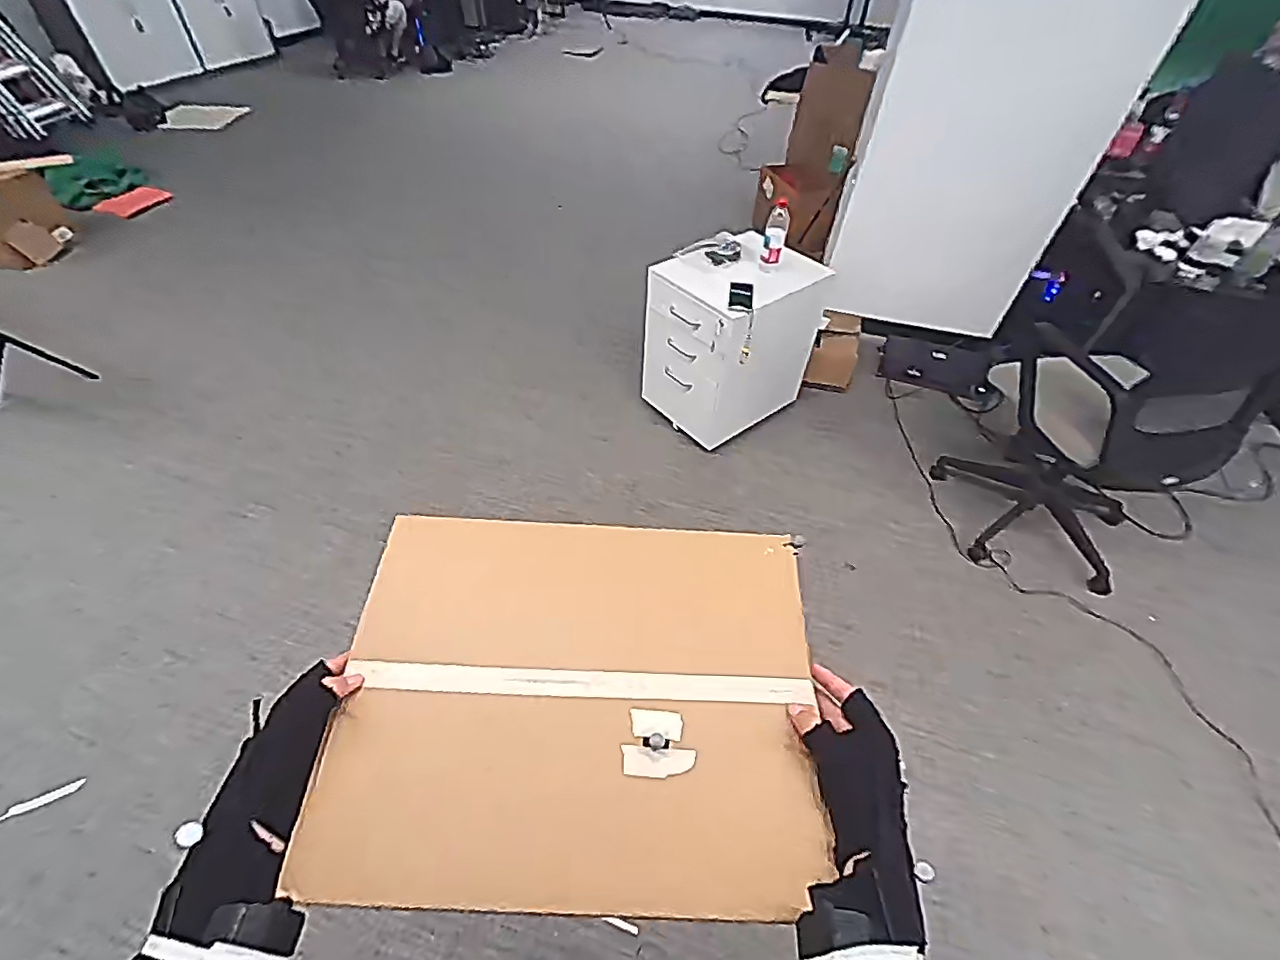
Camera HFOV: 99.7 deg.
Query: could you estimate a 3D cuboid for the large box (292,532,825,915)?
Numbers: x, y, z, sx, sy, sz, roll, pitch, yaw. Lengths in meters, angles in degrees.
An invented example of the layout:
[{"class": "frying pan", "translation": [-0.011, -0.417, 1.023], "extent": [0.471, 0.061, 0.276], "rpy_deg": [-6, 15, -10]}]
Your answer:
[{"class": "large box", "translation": [-0.065, 0.270, 0.604], "extent": [0.408, 0.320, 0.320], "rpy_deg": [3, 57, -2]}]
